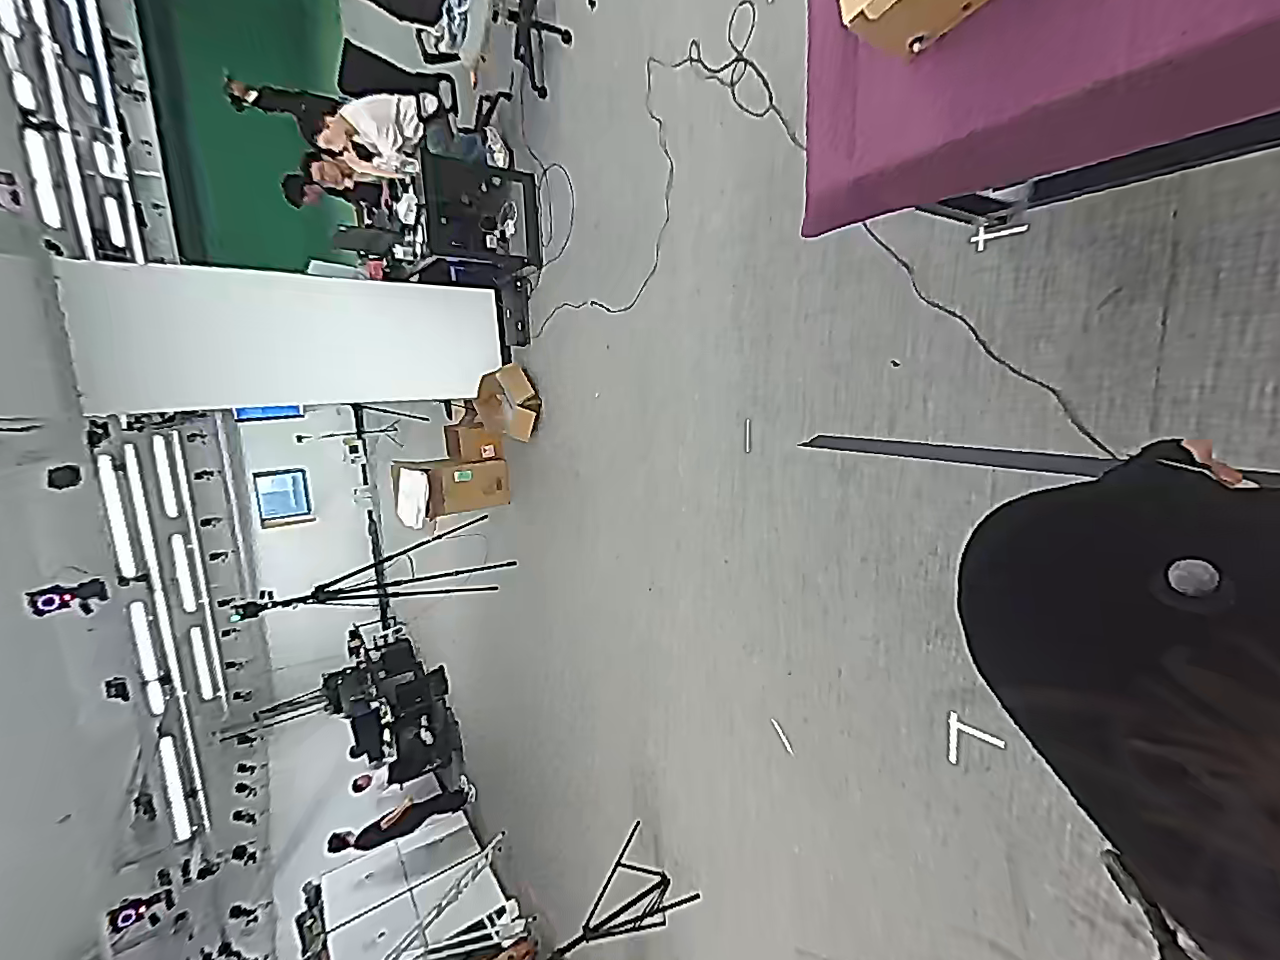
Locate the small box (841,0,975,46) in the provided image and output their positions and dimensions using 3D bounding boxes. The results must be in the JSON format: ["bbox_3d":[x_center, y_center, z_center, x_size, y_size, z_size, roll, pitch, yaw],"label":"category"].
[{"bbox_3d":[0.400,-0.770,0.771,0.168,0.176,0.179,-9,90,56],"label":"small box"}]
